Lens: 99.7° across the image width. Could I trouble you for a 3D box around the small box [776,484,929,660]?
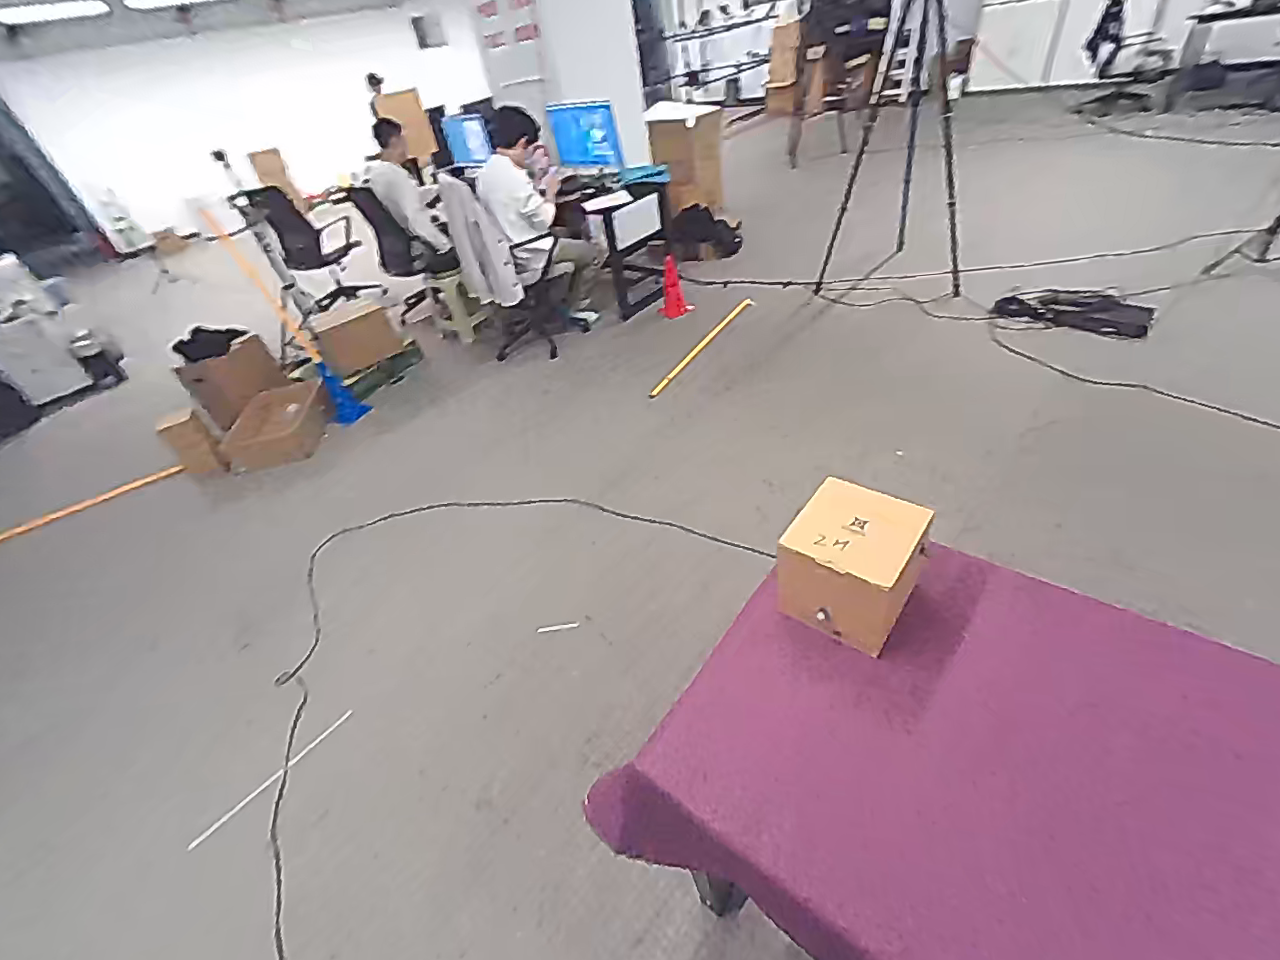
[{"bbox_3d":[0.324,0.141,0.846,0.168,0.176,0.179,22,50,35],"label":"small box"}]
